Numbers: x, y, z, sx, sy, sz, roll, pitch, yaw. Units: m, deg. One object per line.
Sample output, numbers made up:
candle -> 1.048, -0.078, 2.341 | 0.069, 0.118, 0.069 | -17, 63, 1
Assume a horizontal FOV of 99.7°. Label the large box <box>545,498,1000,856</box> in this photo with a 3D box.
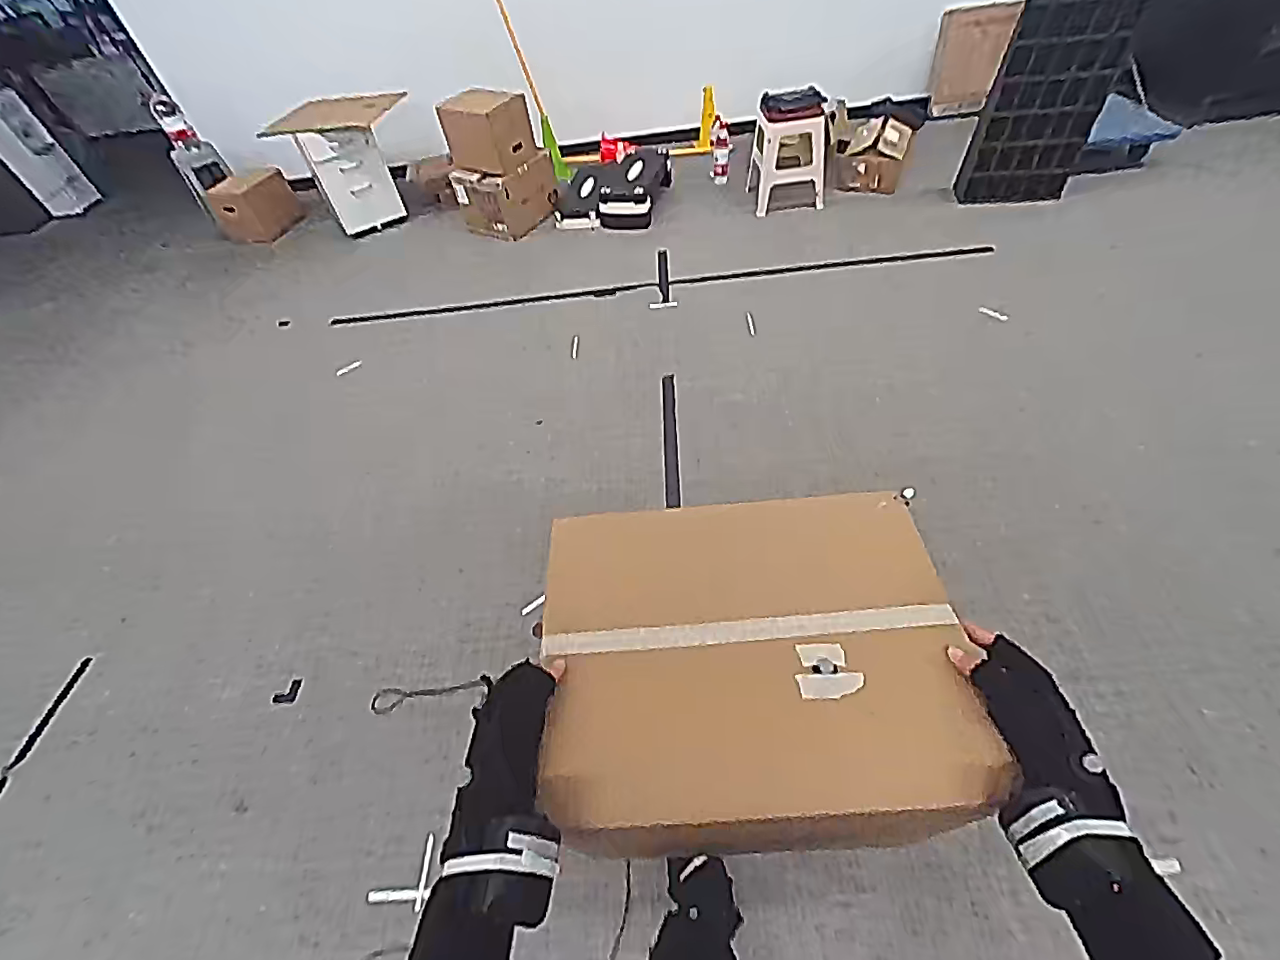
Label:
large box -> 0.114, 0.252, 0.672 | 0.408, 0.320, 0.320 | -5, 51, 2
